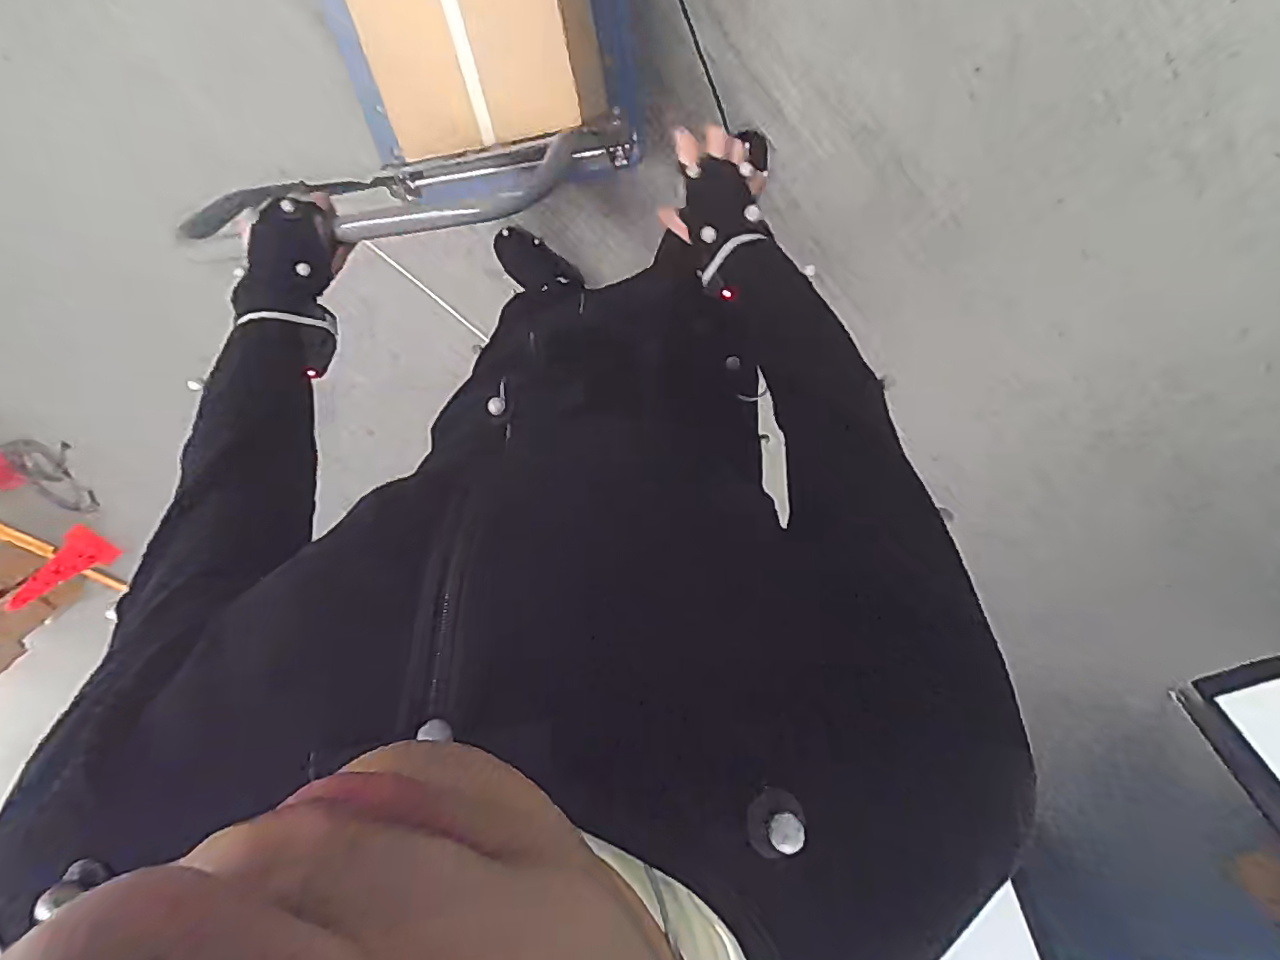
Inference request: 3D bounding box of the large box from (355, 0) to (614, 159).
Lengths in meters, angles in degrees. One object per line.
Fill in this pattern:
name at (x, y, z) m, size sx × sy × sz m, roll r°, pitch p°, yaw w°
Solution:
large box at (-0.250, -0.795, 0.885) m, size 0.320 × 0.320 × 0.408 m, roll -5°, pitch 125°, yaw 10°
